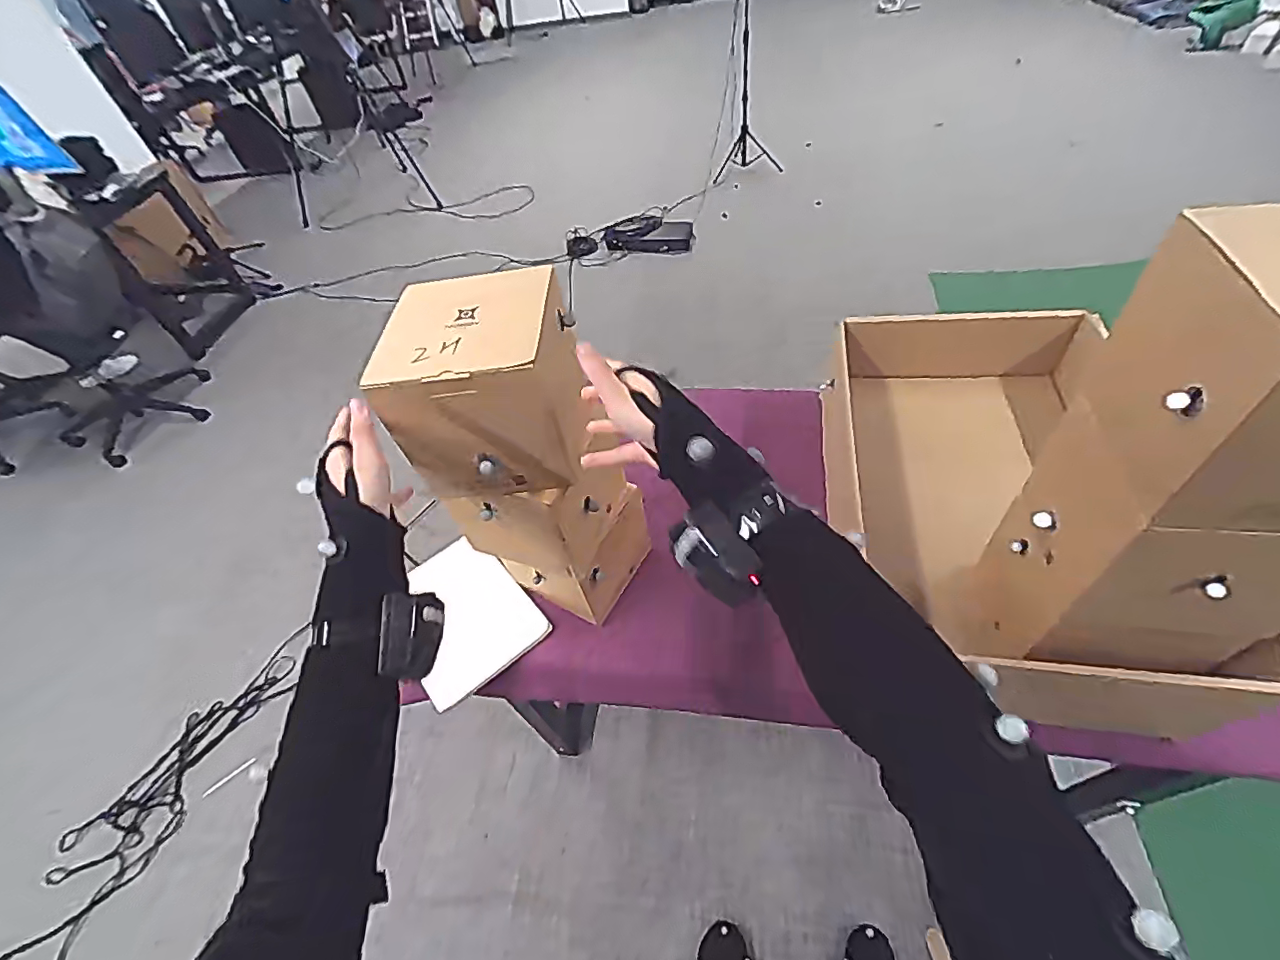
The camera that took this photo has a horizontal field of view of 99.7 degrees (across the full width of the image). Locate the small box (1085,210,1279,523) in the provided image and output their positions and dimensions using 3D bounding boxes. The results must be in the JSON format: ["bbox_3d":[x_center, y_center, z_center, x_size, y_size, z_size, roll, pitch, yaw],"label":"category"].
[{"bbox_3d":[0.479,-0.078,0.397,0.168,0.176,0.179,3,50,14],"label":"small box"}]

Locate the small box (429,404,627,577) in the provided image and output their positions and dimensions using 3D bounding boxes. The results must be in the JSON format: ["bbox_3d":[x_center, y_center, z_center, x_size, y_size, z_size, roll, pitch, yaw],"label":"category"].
[{"bbox_3d":[-0.131,0.007,0.714,0.179,0.176,0.168,12,53,20],"label":"small box"}]

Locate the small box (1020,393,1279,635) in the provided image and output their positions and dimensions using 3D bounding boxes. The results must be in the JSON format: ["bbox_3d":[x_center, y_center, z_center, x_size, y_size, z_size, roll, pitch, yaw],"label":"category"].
[{"bbox_3d":[0.505,0.033,0.514,0.179,0.176,0.168,2,50,15],"label":"small box"}]

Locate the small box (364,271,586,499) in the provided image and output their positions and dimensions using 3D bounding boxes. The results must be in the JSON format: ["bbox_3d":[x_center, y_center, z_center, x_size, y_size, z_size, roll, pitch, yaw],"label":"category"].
[{"bbox_3d":[-0.159,-0.101,0.593,0.168,0.176,0.179,-6,49,6],"label":"small box"}]
